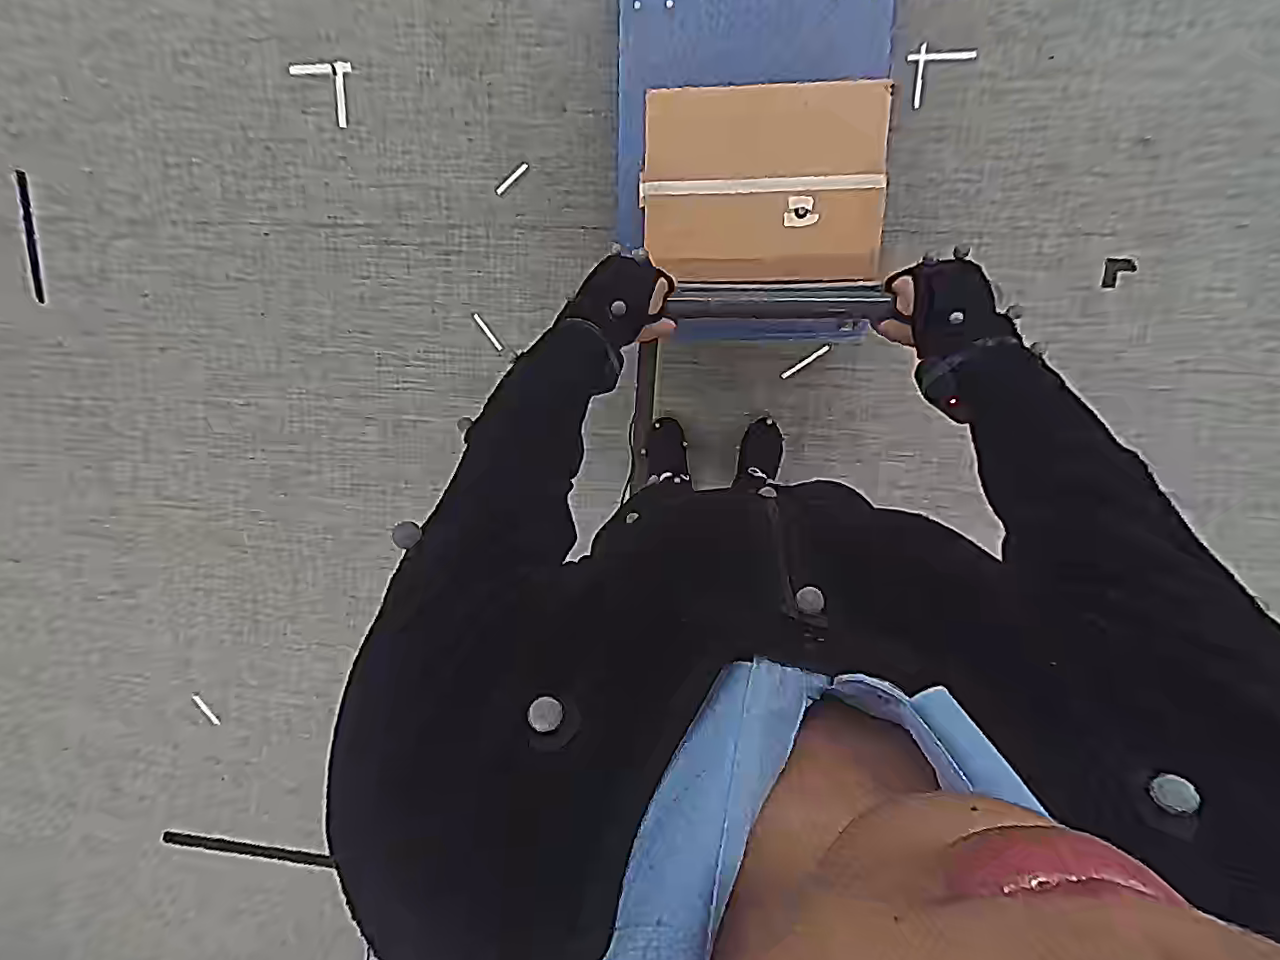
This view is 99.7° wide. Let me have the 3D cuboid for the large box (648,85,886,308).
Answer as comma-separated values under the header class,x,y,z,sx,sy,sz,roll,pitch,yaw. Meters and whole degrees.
class,x,y,z,sx,sy,sz,roll,pitch,yaw
large box,0.225,-0.530,1.085,0.408,0.320,0.320,1,101,5
